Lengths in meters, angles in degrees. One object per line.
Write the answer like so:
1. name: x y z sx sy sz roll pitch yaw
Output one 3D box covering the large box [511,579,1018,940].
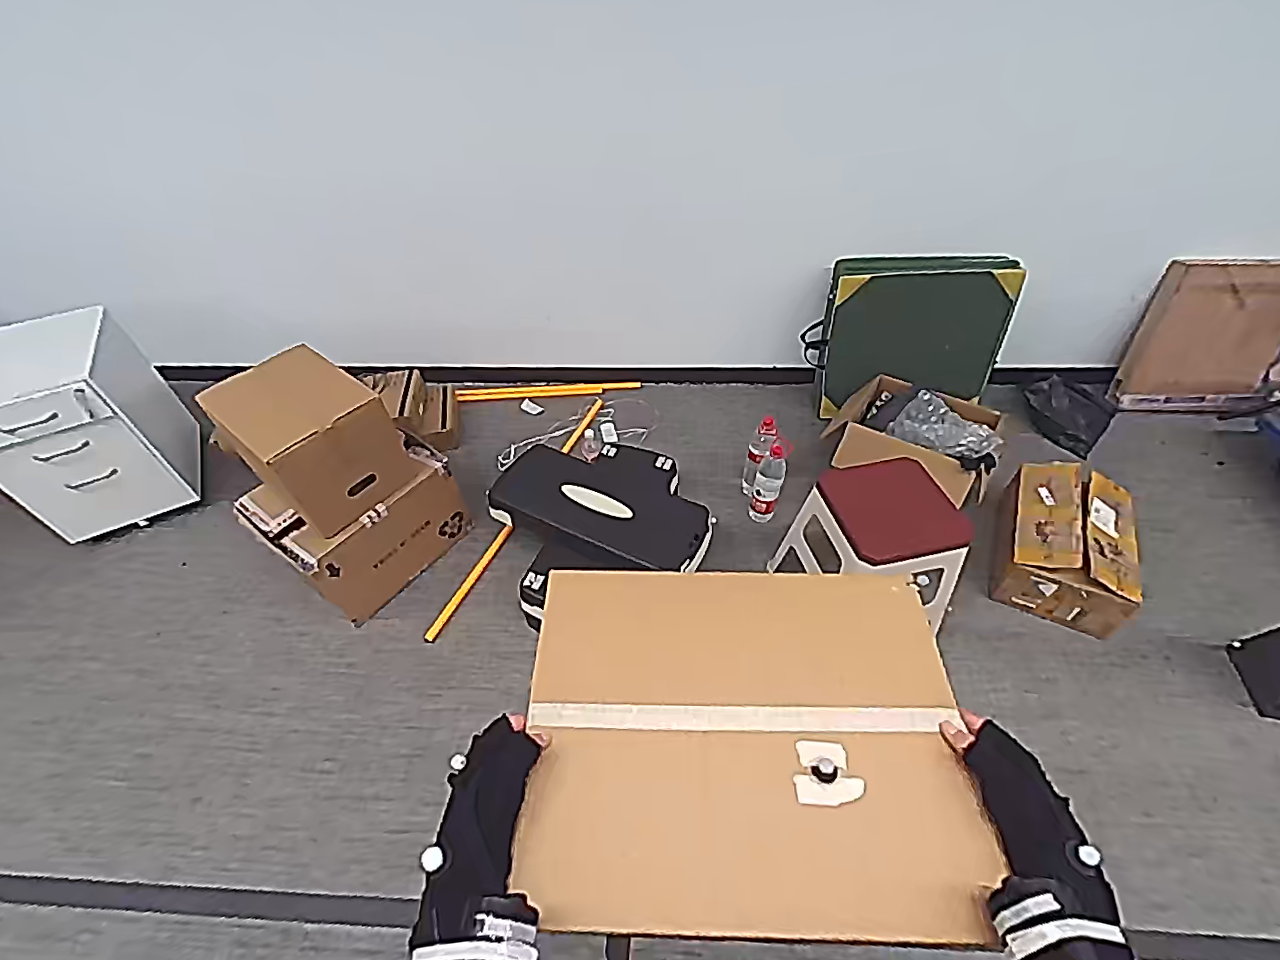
1. large box: 0.097 0.327 0.626 0.408 0.320 0.320 1 50 1
